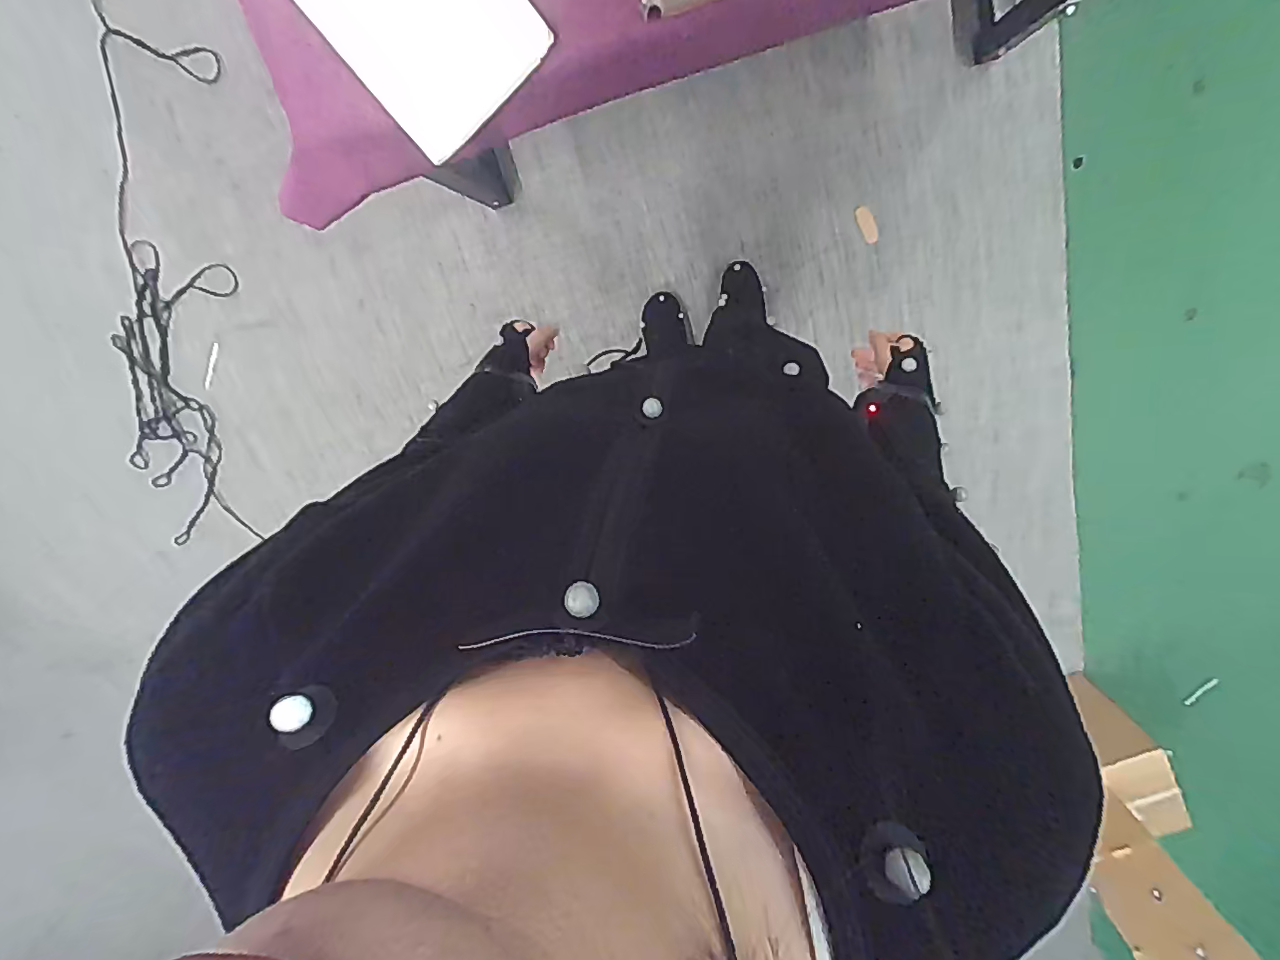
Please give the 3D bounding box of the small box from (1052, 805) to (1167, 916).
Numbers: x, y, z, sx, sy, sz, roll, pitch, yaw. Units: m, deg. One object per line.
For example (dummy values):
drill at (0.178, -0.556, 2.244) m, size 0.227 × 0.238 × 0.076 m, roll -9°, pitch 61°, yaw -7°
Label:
small box at (1.199, 0.964, 1.373) m, size 0.168 × 0.176 × 0.179 m, roll -27°, pitch 105°, yaw 11°

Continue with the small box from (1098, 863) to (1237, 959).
small box at (1.189, 1.018, 1.219) m, size 0.179 × 0.176 × 0.168 m, roll -29°, pitch 104°, yaw 11°

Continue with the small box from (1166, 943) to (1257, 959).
small box at (1.184, 1.070, 1.063) m, size 0.179 × 0.176 × 0.168 m, roll -28°, pitch 105°, yaw 13°
